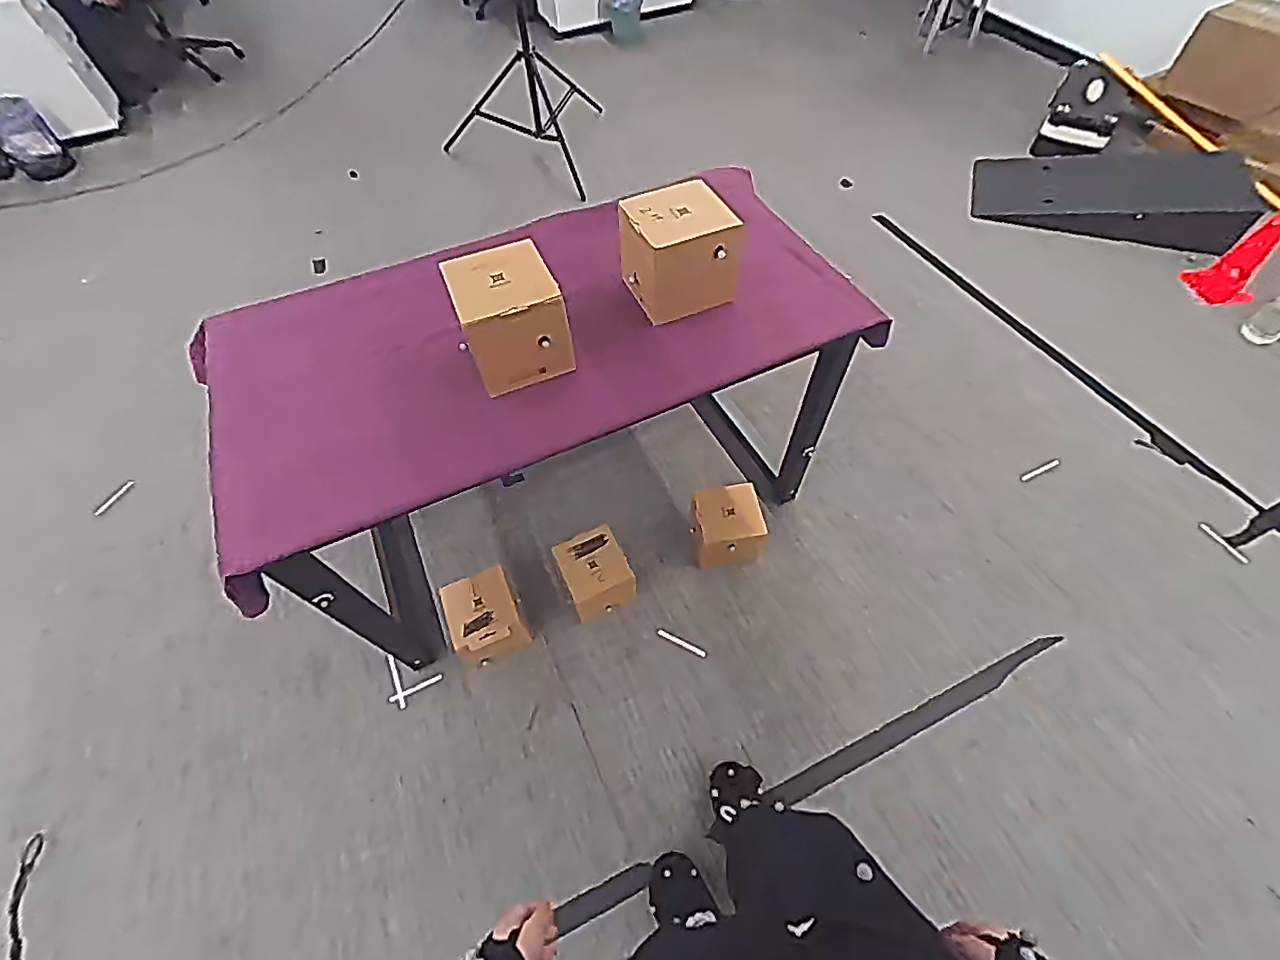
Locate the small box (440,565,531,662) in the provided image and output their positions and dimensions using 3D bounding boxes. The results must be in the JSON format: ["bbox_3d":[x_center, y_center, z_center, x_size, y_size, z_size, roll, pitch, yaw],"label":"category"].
[{"bbox_3d":[-0.398,0.357,1.414,0.168,0.176,0.179,-22,58,-12],"label":"small box"}]

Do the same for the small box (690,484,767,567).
[{"bbox_3d":[0.244,0.132,1.540,0.179,0.176,0.168,-9,59,-2],"label":"small box"}]

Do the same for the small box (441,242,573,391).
[{"bbox_3d":[-0.227,-0.279,0.950,0.168,0.176,0.179,-21,57,-13],"label":"small box"}]

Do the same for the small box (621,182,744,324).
[{"bbox_3d":[0.075,-0.431,1.037,0.179,0.176,0.168,-21,59,-11],"label":"small box"}]
